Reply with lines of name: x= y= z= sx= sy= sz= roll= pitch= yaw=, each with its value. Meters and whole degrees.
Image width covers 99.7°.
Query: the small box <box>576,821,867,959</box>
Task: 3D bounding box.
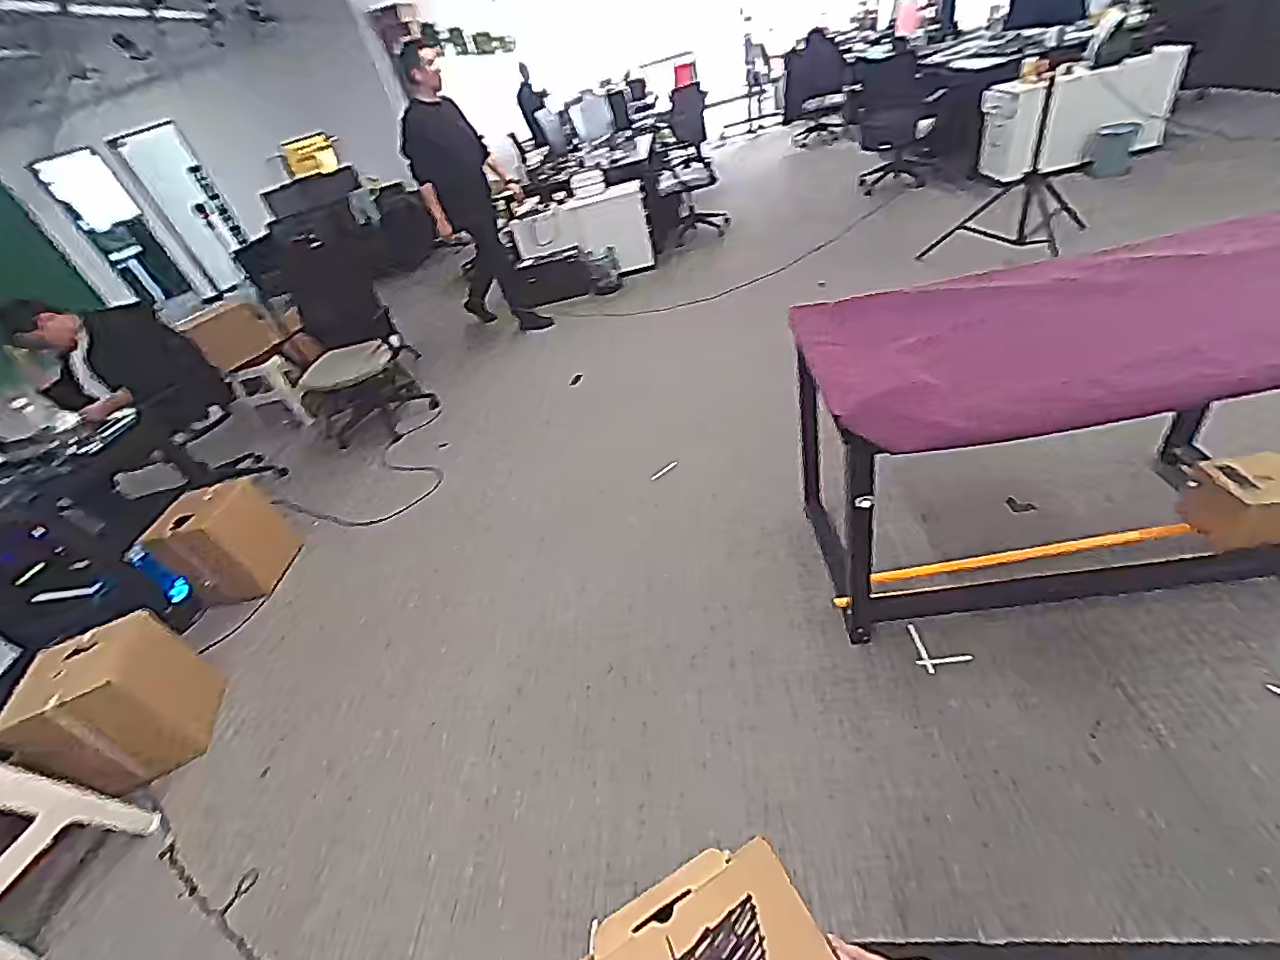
small box: x=0.079 y=0.374 z=0.369 sx=0.168 sy=0.176 sz=0.179 roll=-28 pitch=53 yaw=-10
